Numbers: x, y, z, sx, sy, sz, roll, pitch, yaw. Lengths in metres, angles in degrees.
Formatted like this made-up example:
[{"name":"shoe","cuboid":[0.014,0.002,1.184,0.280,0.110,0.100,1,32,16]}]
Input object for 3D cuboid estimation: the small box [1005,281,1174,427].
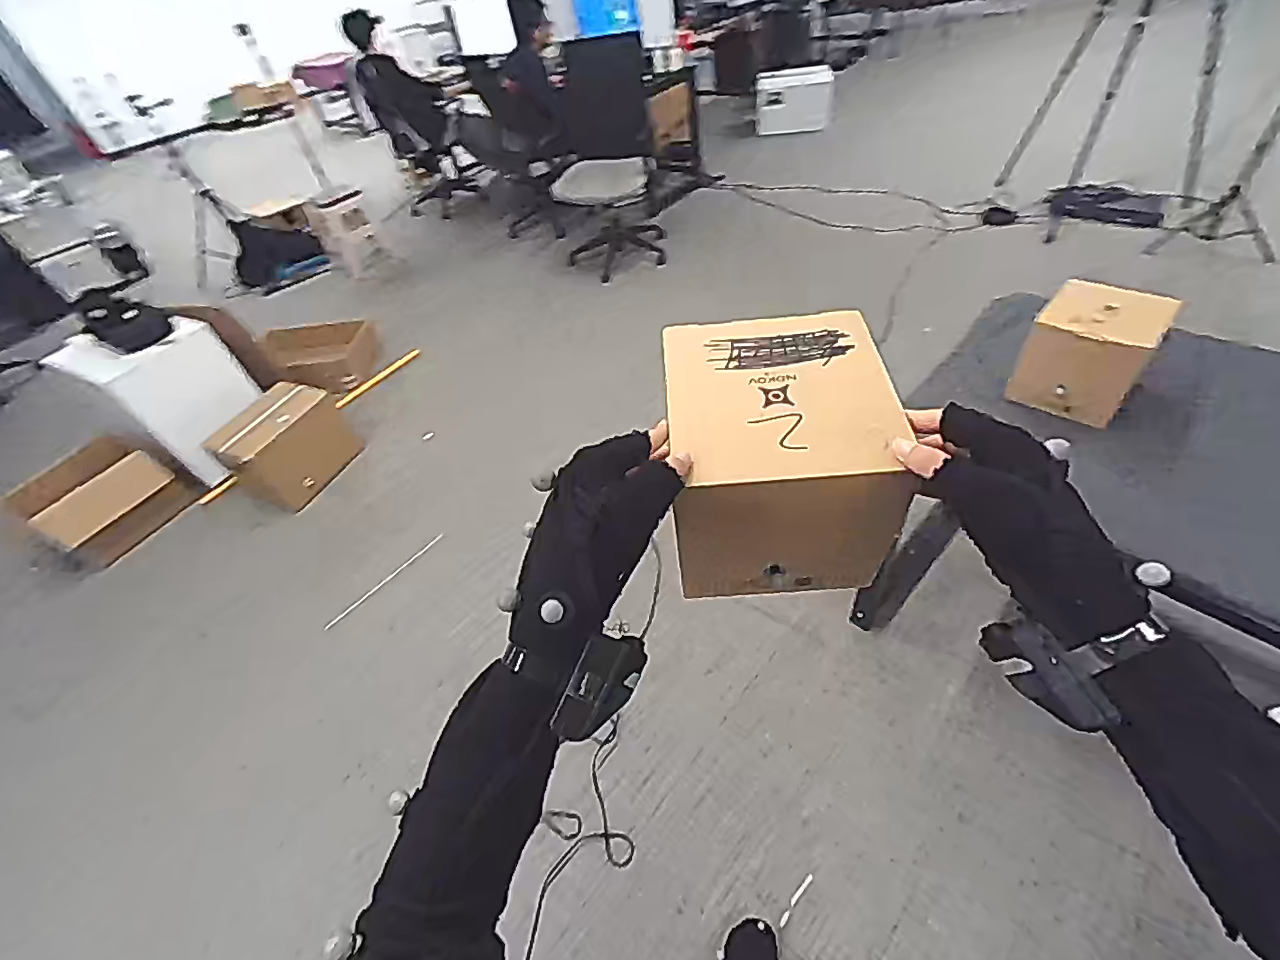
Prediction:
[{"name":"small box","cuboid":[0.800,-0.229,0.979,0.168,0.176,0.179,31,59,34]}]
